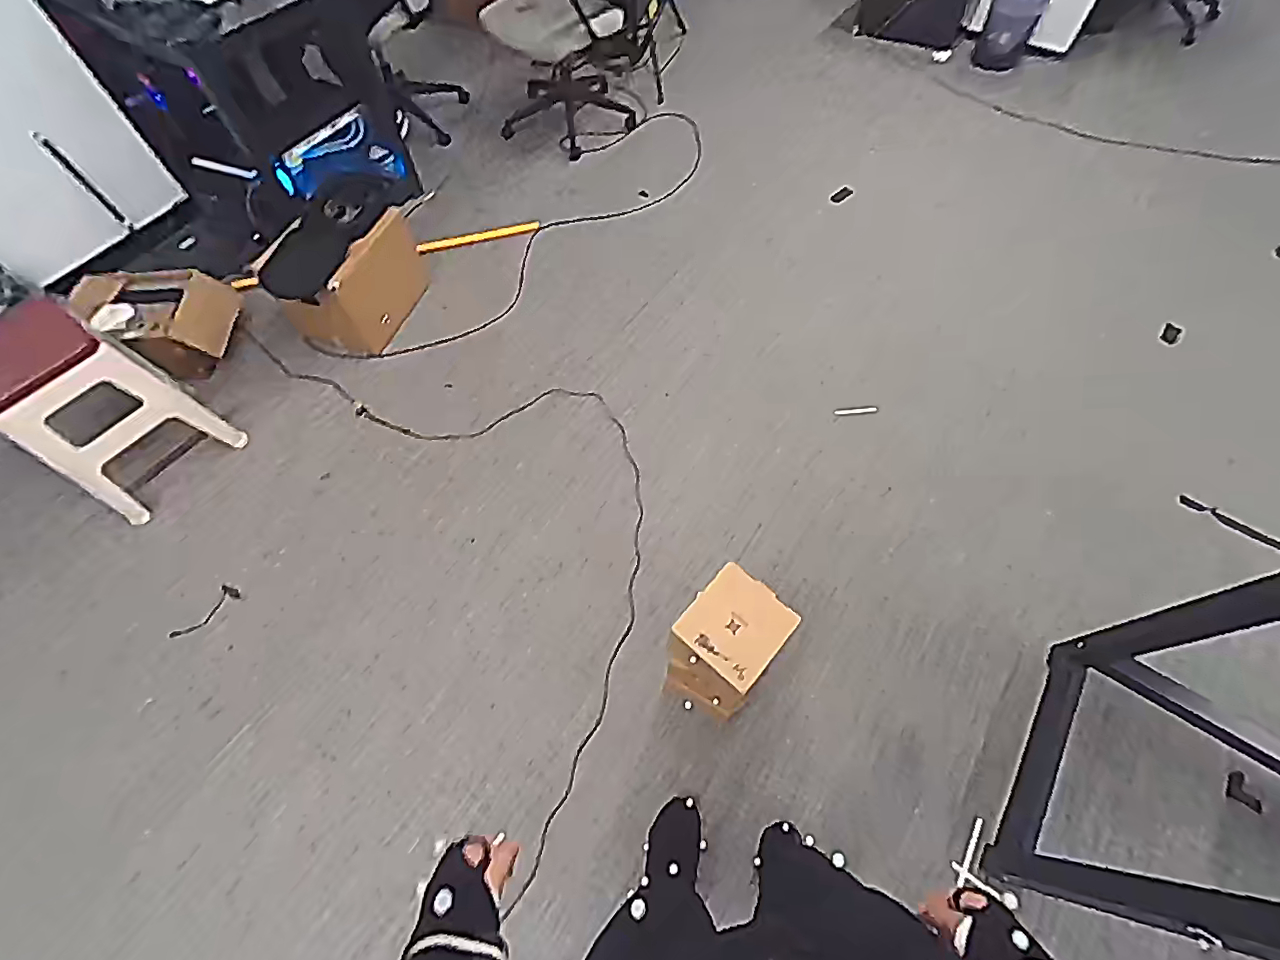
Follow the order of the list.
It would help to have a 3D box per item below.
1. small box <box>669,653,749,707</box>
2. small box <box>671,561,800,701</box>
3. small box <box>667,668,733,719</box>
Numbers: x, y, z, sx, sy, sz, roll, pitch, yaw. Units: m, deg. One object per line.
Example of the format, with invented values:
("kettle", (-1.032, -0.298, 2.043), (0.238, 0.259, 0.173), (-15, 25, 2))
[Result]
("small box", (0.171, 0.370, 1.177), (0.168, 0.176, 0.179), (25, 63, 13))
("small box", (0.171, 0.292, 1.033), (0.168, 0.176, 0.179), (39, 67, 19))
("small box", (0.172, 0.455, 1.315), (0.168, 0.176, 0.179), (28, 66, 16))
